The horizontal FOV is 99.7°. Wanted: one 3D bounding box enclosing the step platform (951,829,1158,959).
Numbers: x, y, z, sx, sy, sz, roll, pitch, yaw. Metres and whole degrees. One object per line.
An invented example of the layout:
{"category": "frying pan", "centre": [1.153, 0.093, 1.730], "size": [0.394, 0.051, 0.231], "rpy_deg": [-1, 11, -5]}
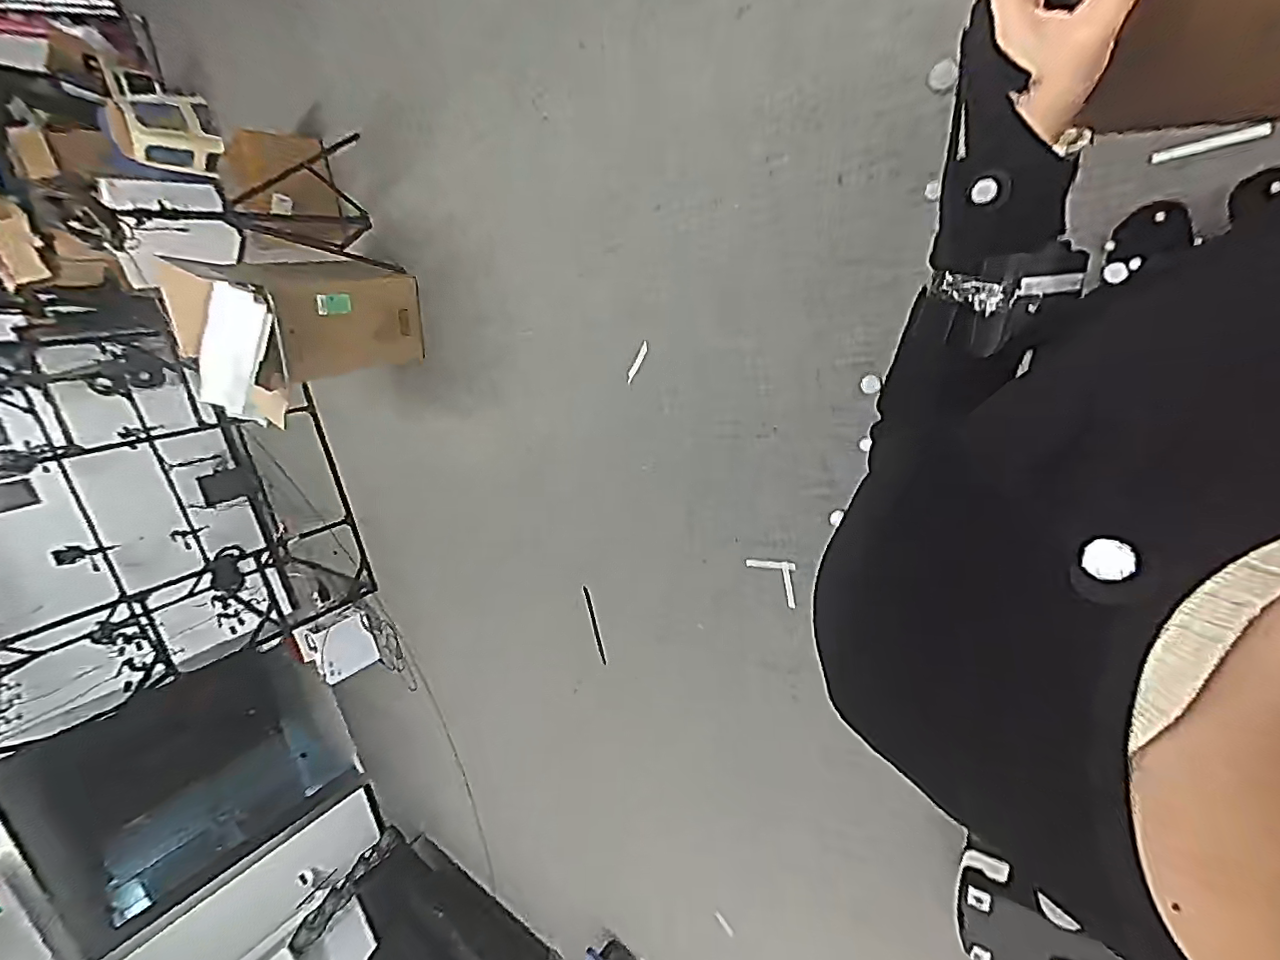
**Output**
{"category": "step platform", "centre": [1.134, 1.165, 1.286], "size": [0.684, 0.204, 0.286], "rpy_deg": [10, 114, 40]}
